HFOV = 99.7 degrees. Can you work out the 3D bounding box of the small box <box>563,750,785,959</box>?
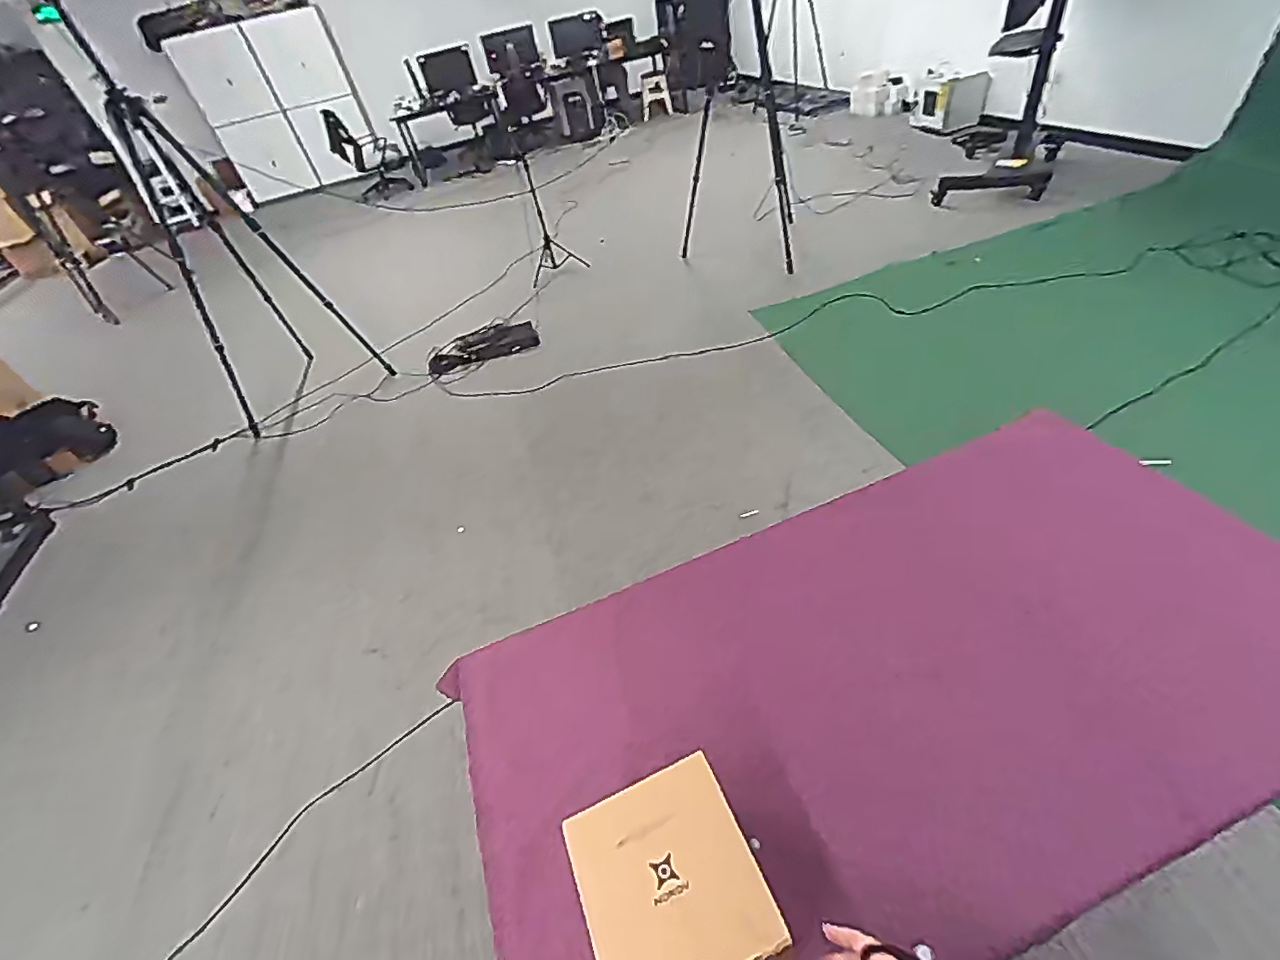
[{"bbox_3d":[0.037,0.430,0.569,0.168,0.176,0.179,-22,43,-10],"label":"small box"}]
